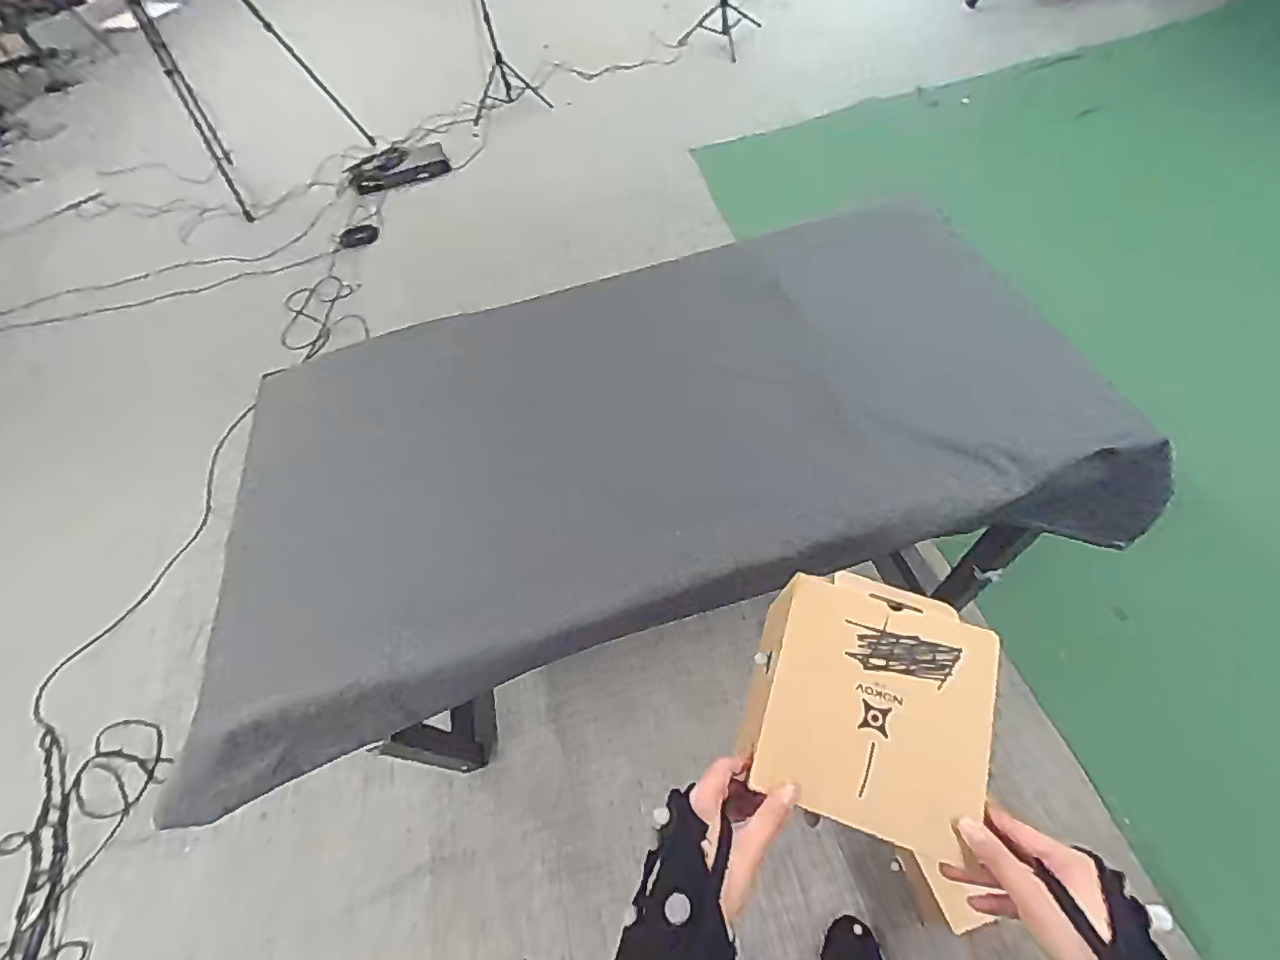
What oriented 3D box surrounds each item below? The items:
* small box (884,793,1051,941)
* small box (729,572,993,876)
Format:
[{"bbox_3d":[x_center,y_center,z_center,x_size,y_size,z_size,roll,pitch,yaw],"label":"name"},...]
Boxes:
[{"bbox_3d":[0.566,0.682,0.969,0.179,0.176,0.168,-20,55,-3],"label":"small box"},{"bbox_3d":[0.183,0.207,0.488,0.168,0.176,0.179,16,68,11],"label":"small box"}]
